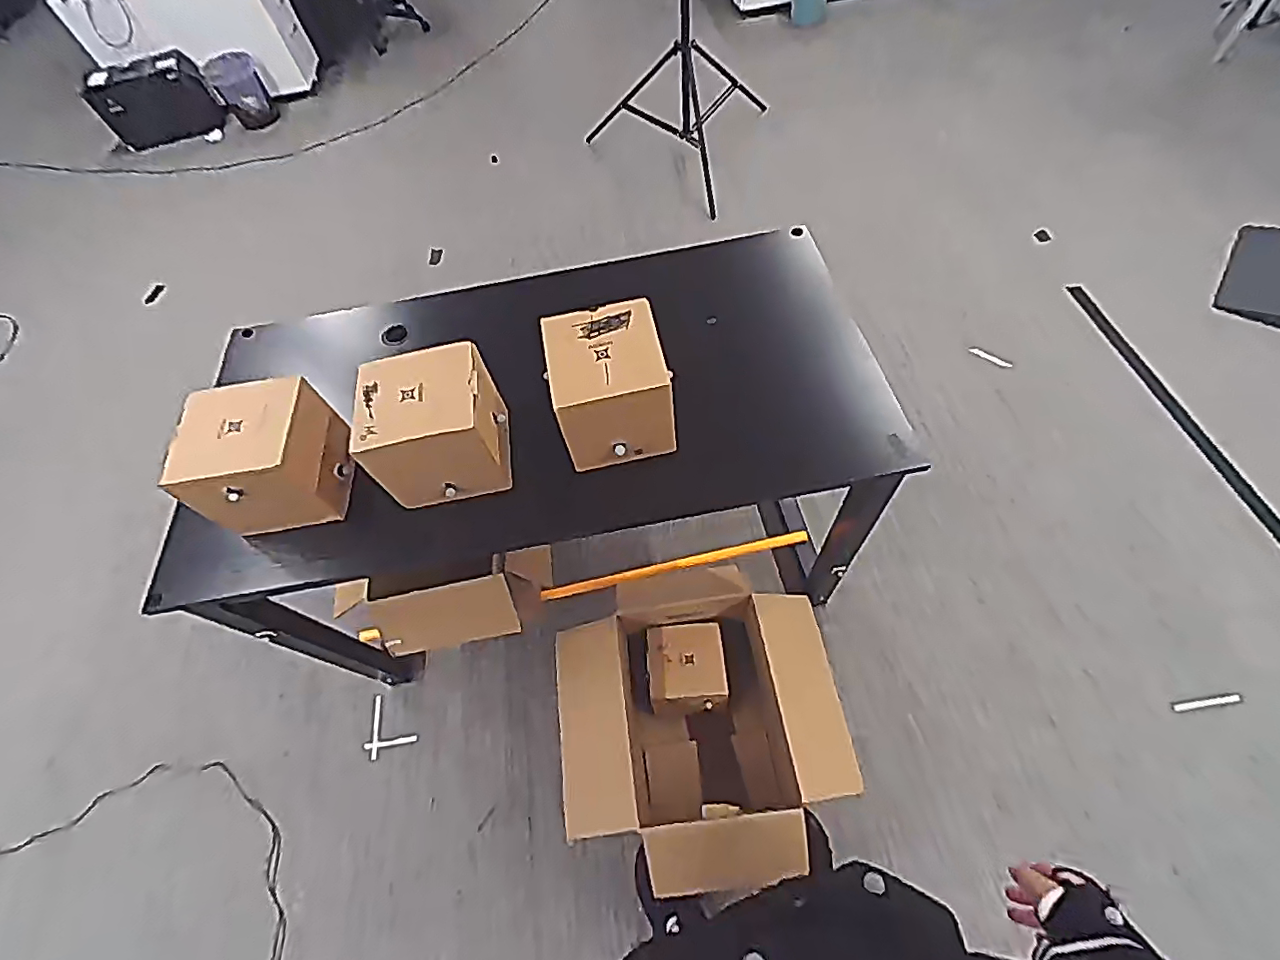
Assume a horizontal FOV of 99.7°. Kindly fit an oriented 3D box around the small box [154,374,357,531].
[{"bbox_3d":[-0.568,-0.035,0.829,0.179,0.176,0.168,-9,60,-1],"label":"small box"}]

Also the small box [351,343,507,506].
[{"bbox_3d":[-0.308,-0.080,0.828,0.179,0.176,0.168,-11,59,-2],"label":"small box"}]

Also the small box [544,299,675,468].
[{"bbox_3d":[-0.044,-0.144,0.836,0.168,0.176,0.179,-12,60,-1],"label":"small box"}]
